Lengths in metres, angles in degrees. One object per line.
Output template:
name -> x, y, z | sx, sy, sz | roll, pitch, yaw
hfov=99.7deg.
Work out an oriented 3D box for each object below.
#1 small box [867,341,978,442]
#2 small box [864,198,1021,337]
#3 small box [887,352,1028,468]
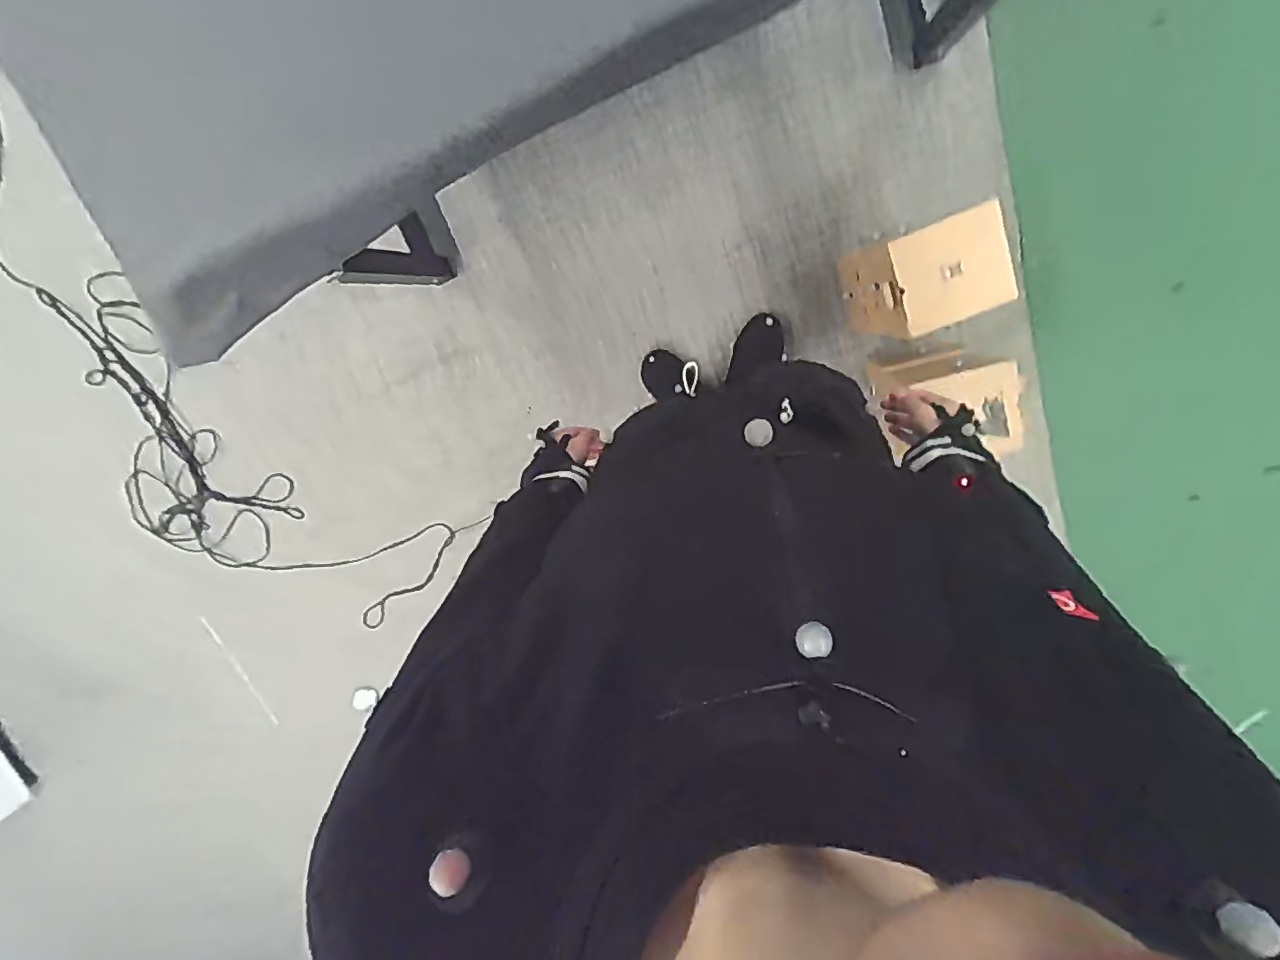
small box -> 0.617, -0.198, 1.180 | 0.179, 0.176, 0.168 | -13, 105, 14
small box -> 0.525, -0.370, 0.959 | 0.179, 0.176, 0.168 | -20, 105, 14
small box -> 0.595, -0.139, 1.028 | 0.179, 0.176, 0.168 | -14, 105, 13
